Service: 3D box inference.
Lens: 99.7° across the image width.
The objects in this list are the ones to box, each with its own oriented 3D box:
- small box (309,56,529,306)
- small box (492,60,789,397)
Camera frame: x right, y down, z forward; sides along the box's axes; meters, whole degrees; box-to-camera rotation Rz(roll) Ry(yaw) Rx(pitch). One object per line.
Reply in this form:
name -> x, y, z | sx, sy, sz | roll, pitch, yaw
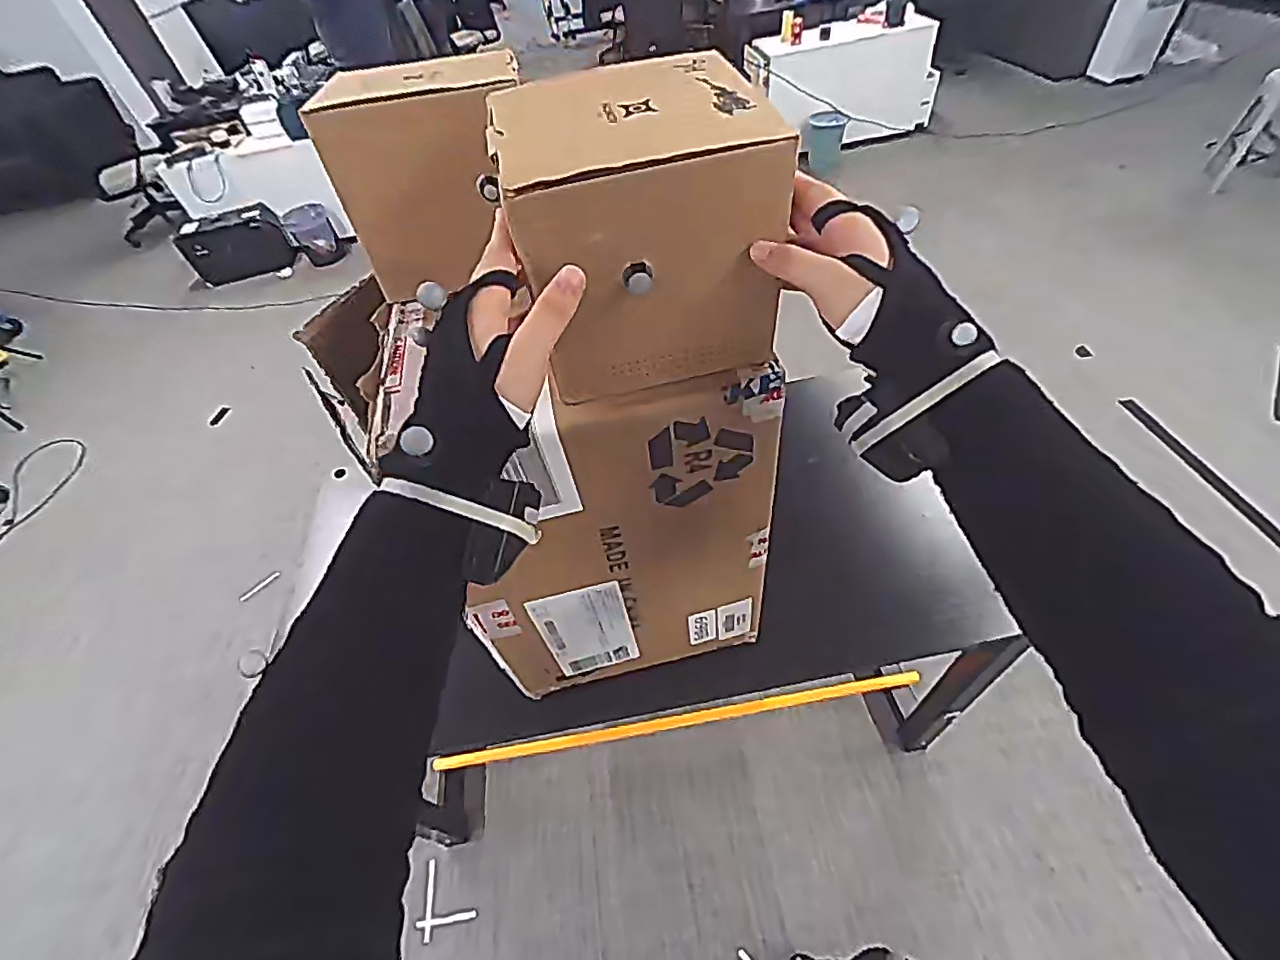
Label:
small box -> -0.189, -0.301, 0.550 | 0.179, 0.176, 0.168 | -13, 46, -4
small box -> -0.001, -0.187, 0.422 | 0.179, 0.176, 0.168 | -14, 54, -2
